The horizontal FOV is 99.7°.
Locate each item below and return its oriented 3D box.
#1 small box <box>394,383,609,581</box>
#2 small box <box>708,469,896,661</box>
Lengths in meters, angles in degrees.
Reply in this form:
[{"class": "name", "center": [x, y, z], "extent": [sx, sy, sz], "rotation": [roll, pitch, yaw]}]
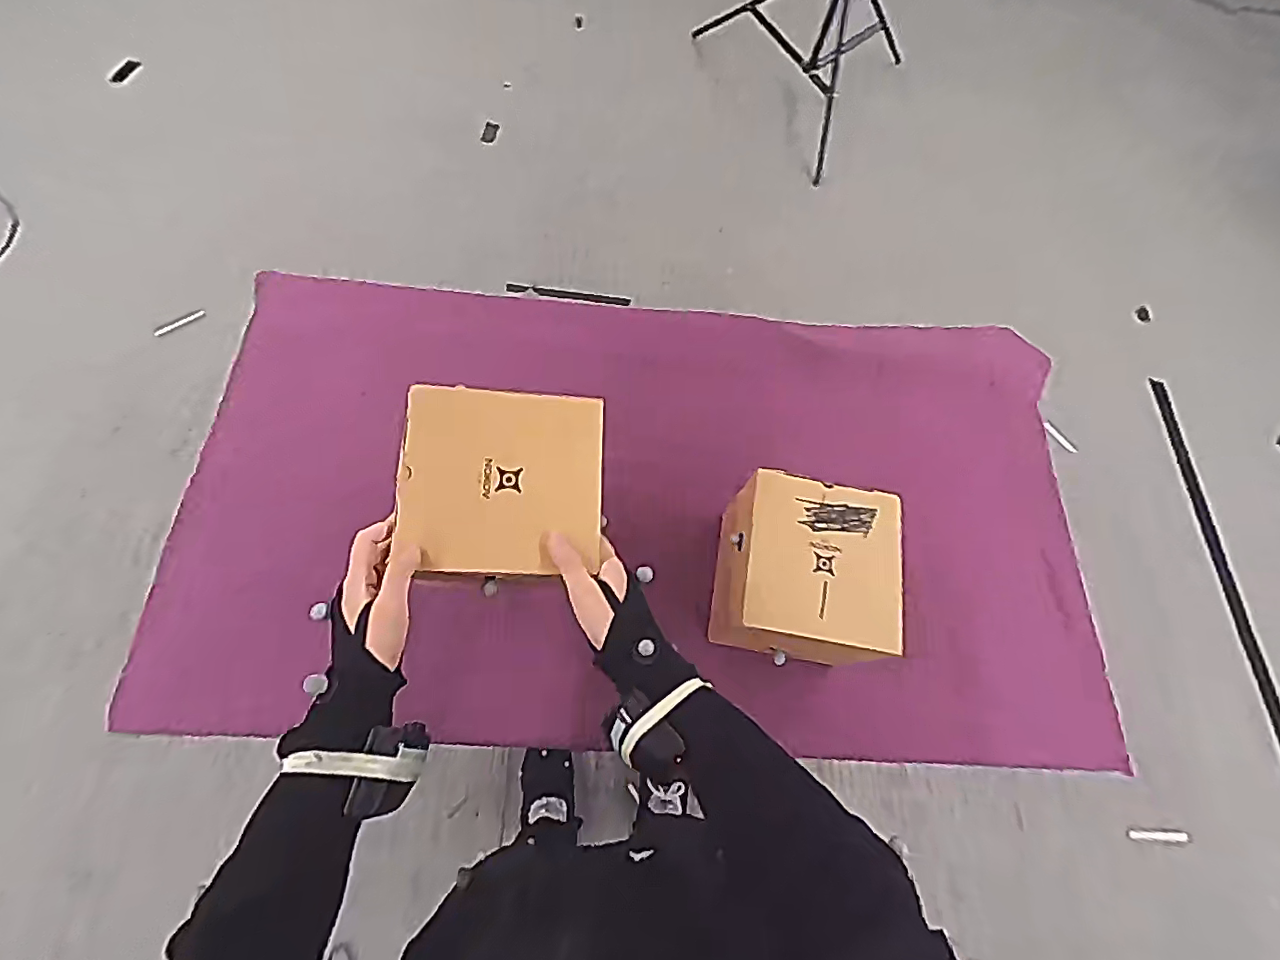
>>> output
[{"class": "small box", "center": [-0.130, 0.015, 0.549], "extent": [0.179, 0.176, 0.168], "rotation": [2, 77, -10]}, {"class": "small box", "center": [0.184, 0.110, 0.648], "extent": [0.168, 0.176, 0.179], "rotation": [11, 68, -1]}]
